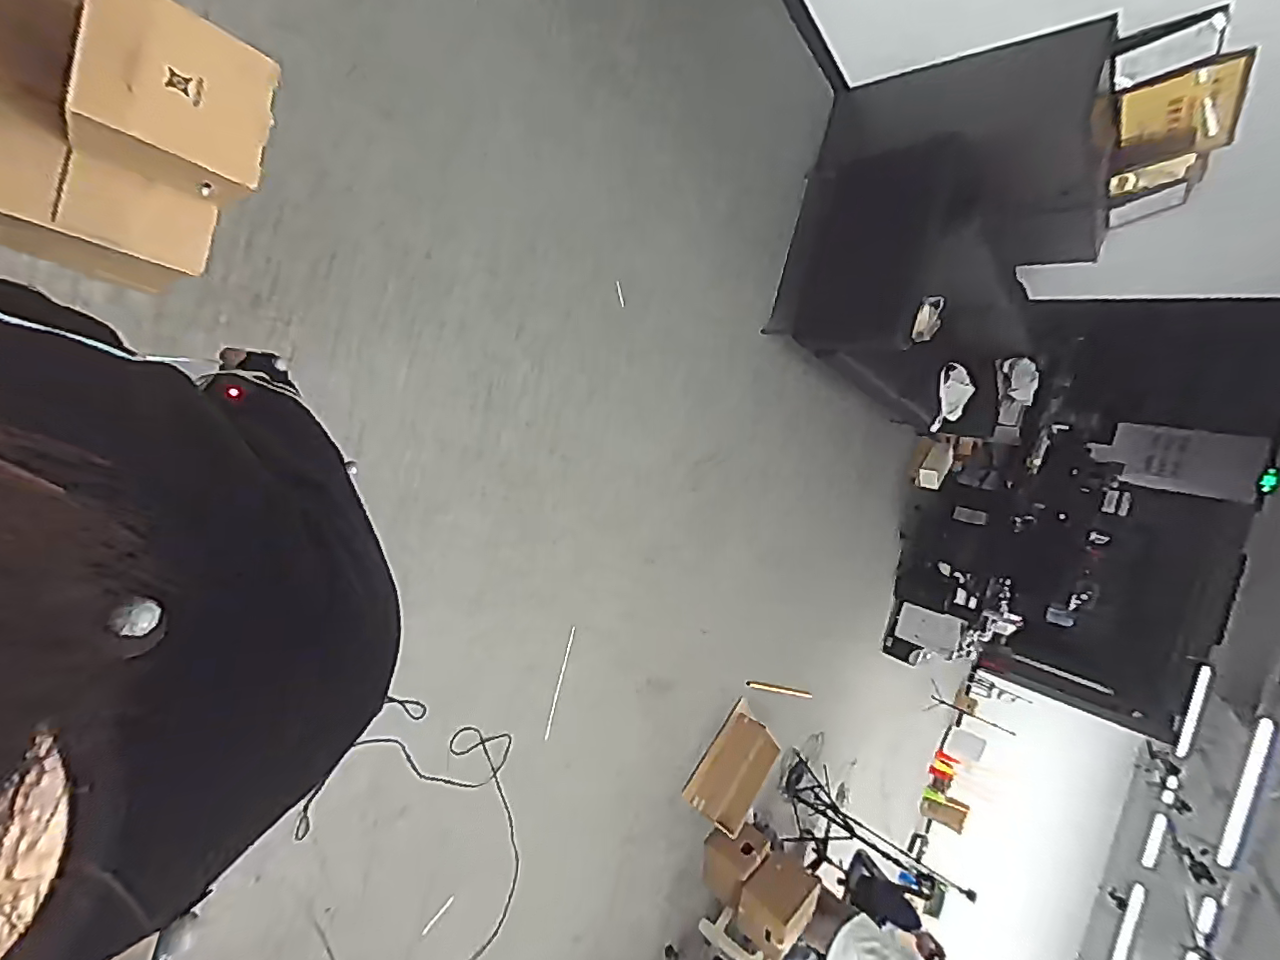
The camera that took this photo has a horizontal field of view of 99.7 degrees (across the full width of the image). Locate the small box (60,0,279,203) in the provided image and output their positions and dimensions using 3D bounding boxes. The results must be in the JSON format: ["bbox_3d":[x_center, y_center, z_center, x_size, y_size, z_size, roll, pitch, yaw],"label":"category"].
[{"bbox_3d":[-0.600,-0.480,0.692,0.179,0.176,0.168,12,92,-47],"label":"small box"}]
